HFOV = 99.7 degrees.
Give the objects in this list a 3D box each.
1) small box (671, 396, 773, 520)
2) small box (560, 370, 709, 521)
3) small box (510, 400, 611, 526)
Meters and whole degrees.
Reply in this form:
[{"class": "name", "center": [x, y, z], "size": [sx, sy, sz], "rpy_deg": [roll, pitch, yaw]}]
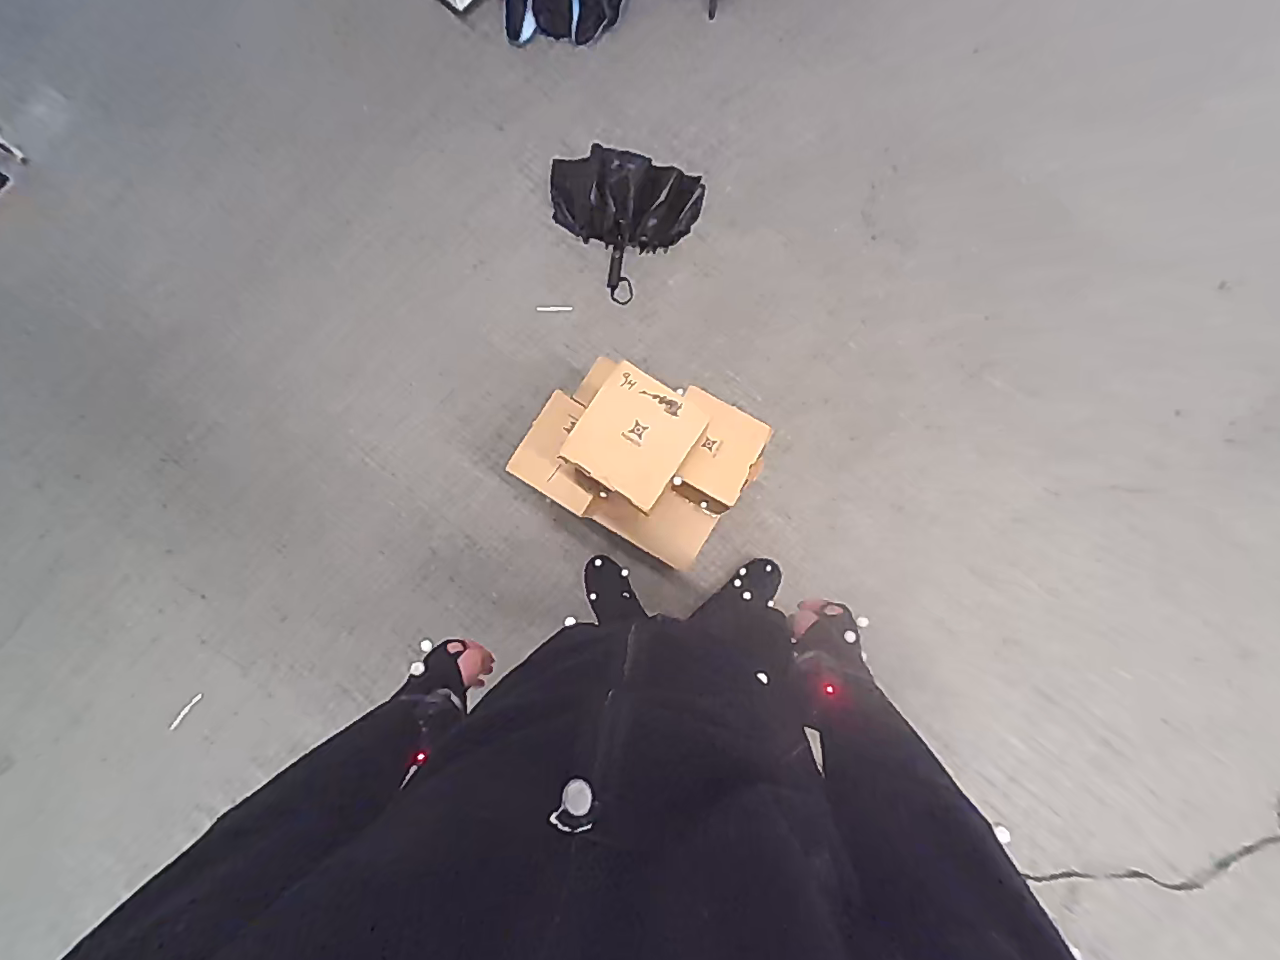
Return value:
[{"class": "small box", "center": [0.130, -0.033, 1.051], "size": [0.179, 0.176, 0.168], "rpy_deg": [28, 81, 6]}, {"class": "small box", "center": [-0.002, -0.045, 0.888], "size": [0.168, 0.176, 0.179], "rpy_deg": [33, 87, 6]}, {"class": "small box", "center": [-0.121, -0.026, 1.055], "size": [0.168, 0.176, 0.179], "rpy_deg": [32, 87, 5]}]
